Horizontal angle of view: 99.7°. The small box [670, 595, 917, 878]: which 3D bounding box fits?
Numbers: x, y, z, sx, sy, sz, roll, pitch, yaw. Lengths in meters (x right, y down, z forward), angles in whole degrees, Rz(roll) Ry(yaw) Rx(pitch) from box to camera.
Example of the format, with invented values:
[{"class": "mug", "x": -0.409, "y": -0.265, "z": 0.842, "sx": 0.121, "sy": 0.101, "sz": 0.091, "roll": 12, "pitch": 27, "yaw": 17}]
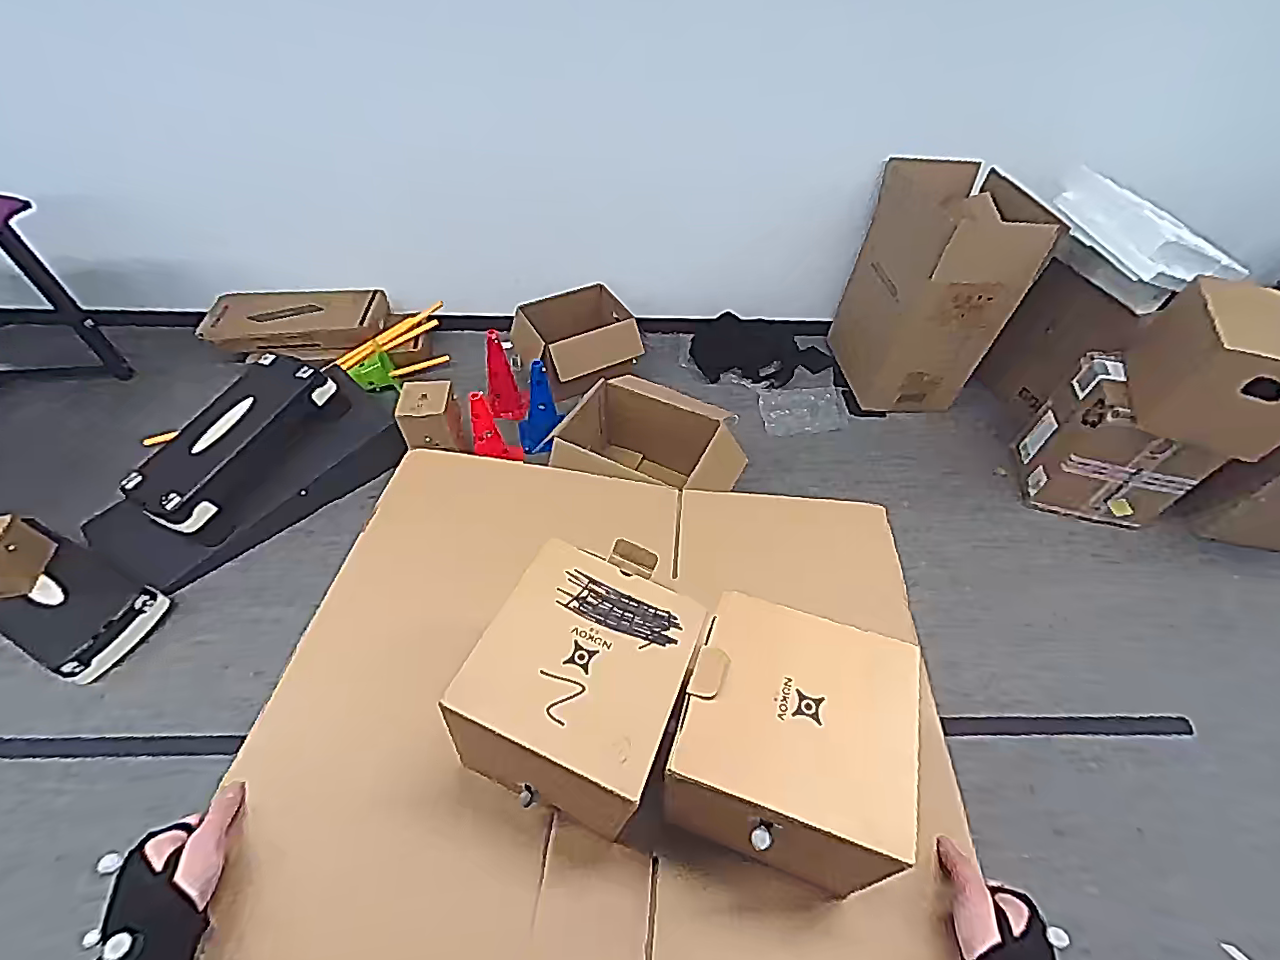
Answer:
[{"class": "small box", "x": 0.134, "y": 0.238, "z": 0.499, "sx": 0.179, "sy": 0.176, "sz": 0.168, "roll": 13, "pitch": 49, "yaw": 14}]
